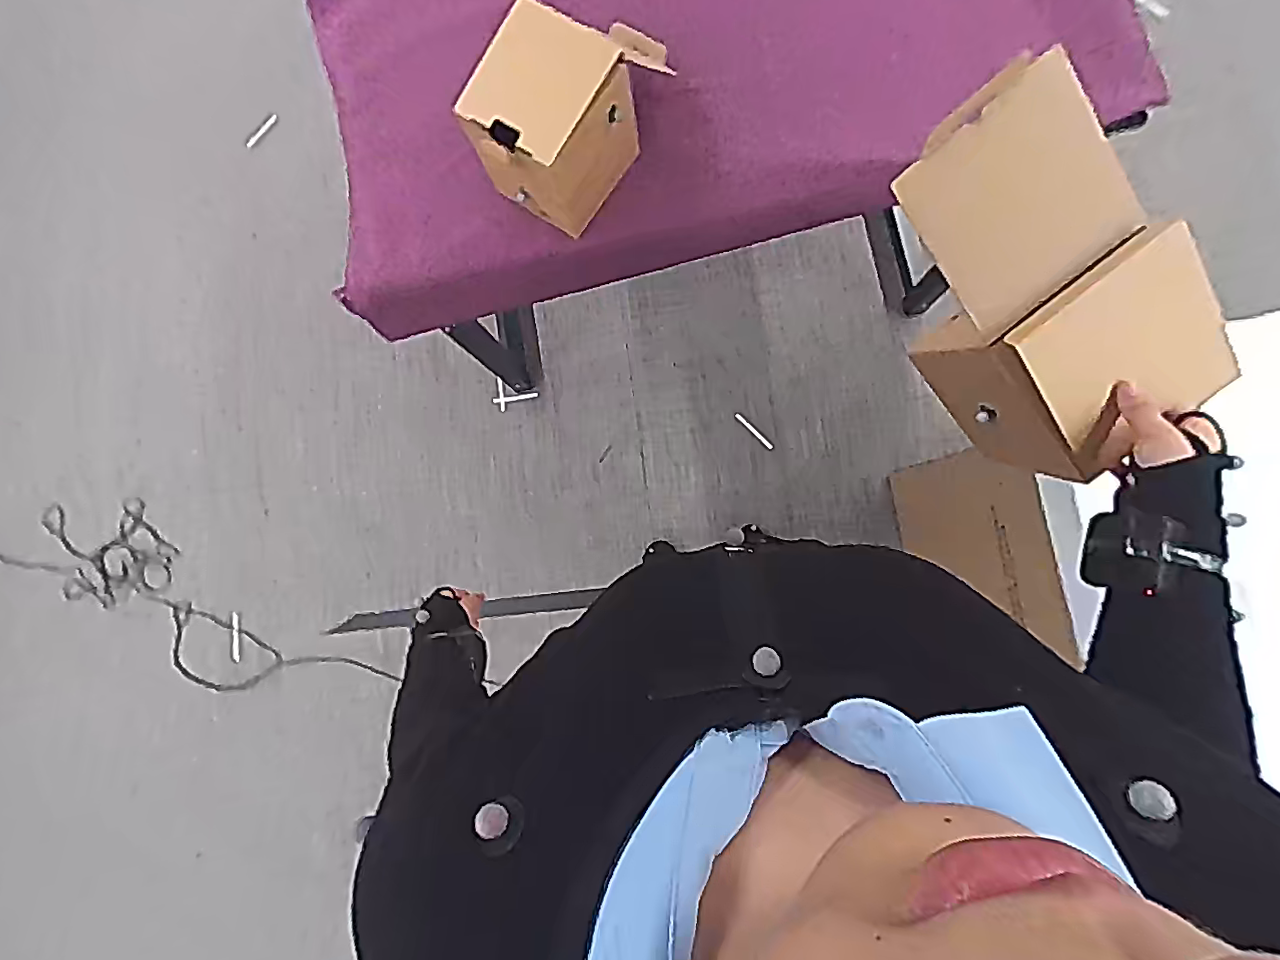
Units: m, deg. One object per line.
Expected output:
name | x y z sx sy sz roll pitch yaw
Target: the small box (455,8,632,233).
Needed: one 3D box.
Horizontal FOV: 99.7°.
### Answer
small box | -0.125 -0.506 0.784 0.168 0.176 0.179 34 88 9
